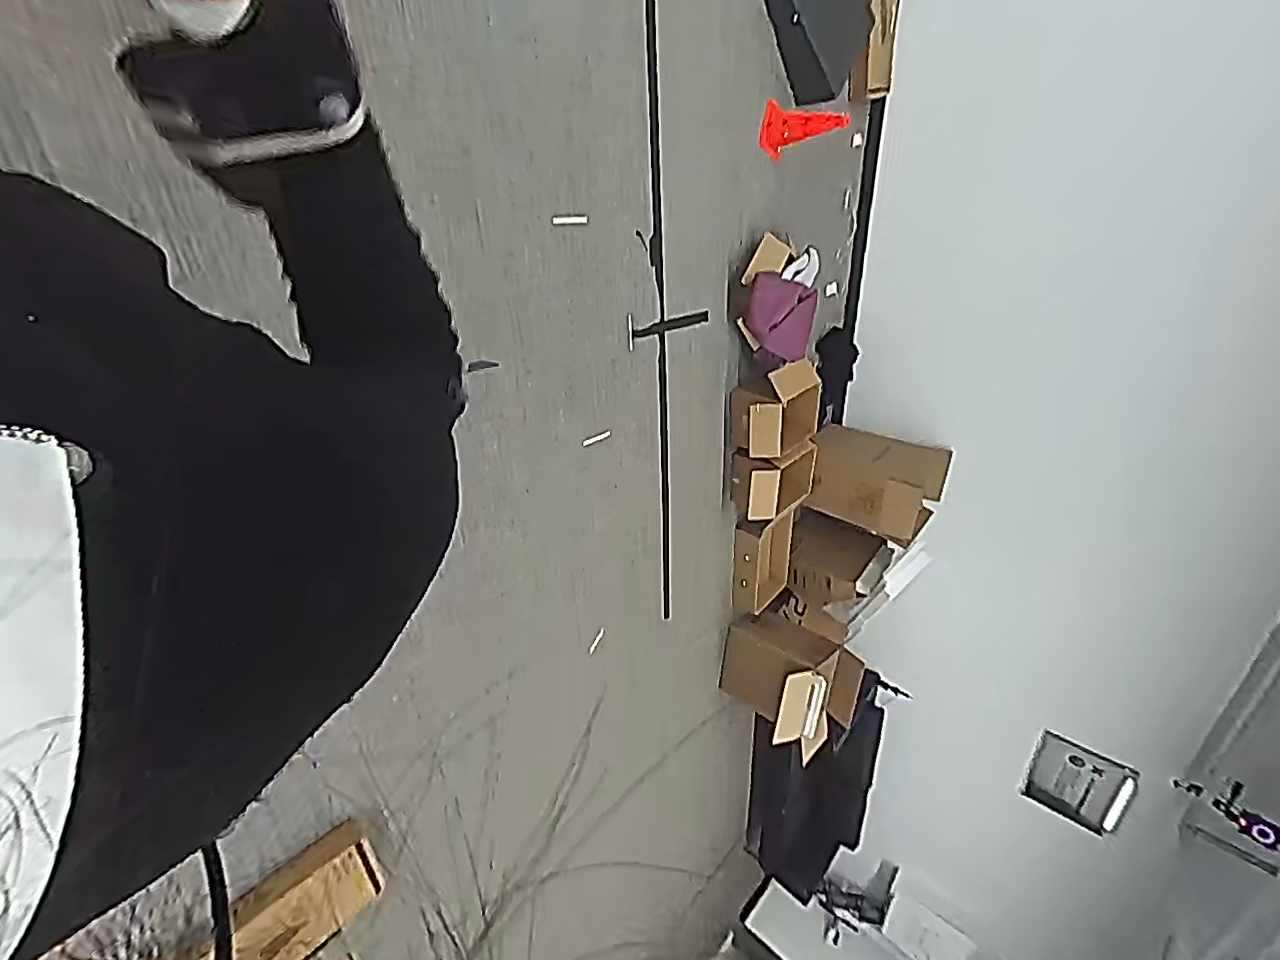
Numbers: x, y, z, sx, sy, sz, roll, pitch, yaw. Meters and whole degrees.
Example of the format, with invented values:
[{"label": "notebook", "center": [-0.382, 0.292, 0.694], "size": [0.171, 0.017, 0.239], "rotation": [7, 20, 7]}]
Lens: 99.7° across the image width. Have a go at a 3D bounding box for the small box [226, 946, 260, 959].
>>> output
[{"label": "small box", "center": [-1.124, 1.459, 1.494], "size": [0.168, 0.176, 0.179], "rotation": [-24, 123, -43]}]
